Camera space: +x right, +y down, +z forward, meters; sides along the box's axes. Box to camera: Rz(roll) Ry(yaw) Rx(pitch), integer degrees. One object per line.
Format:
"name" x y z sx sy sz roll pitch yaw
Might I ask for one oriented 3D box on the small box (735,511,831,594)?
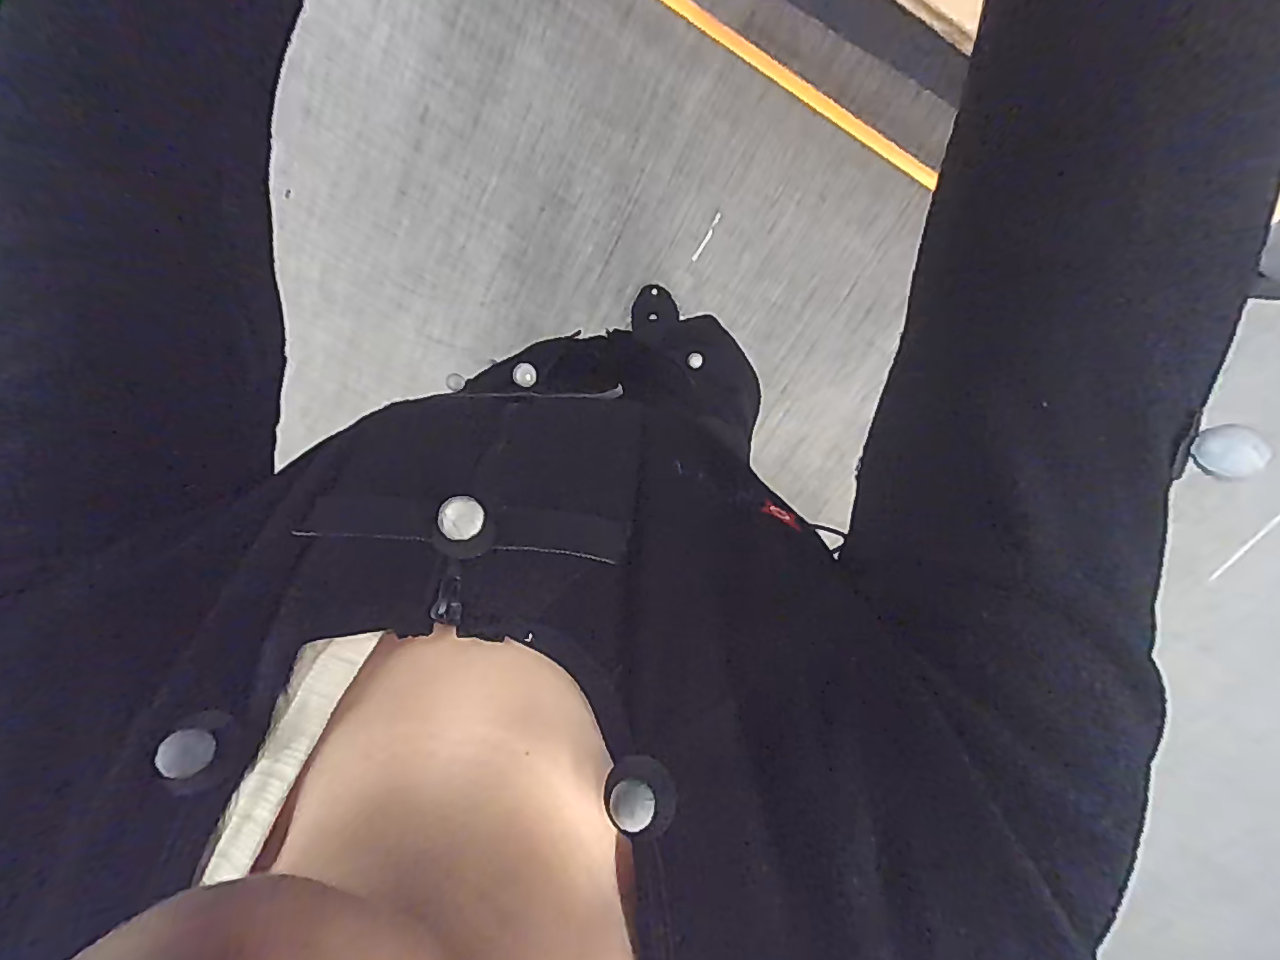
"small box" 0.351 0.206 1.378 0.168 0.176 0.179 24 111 -4
